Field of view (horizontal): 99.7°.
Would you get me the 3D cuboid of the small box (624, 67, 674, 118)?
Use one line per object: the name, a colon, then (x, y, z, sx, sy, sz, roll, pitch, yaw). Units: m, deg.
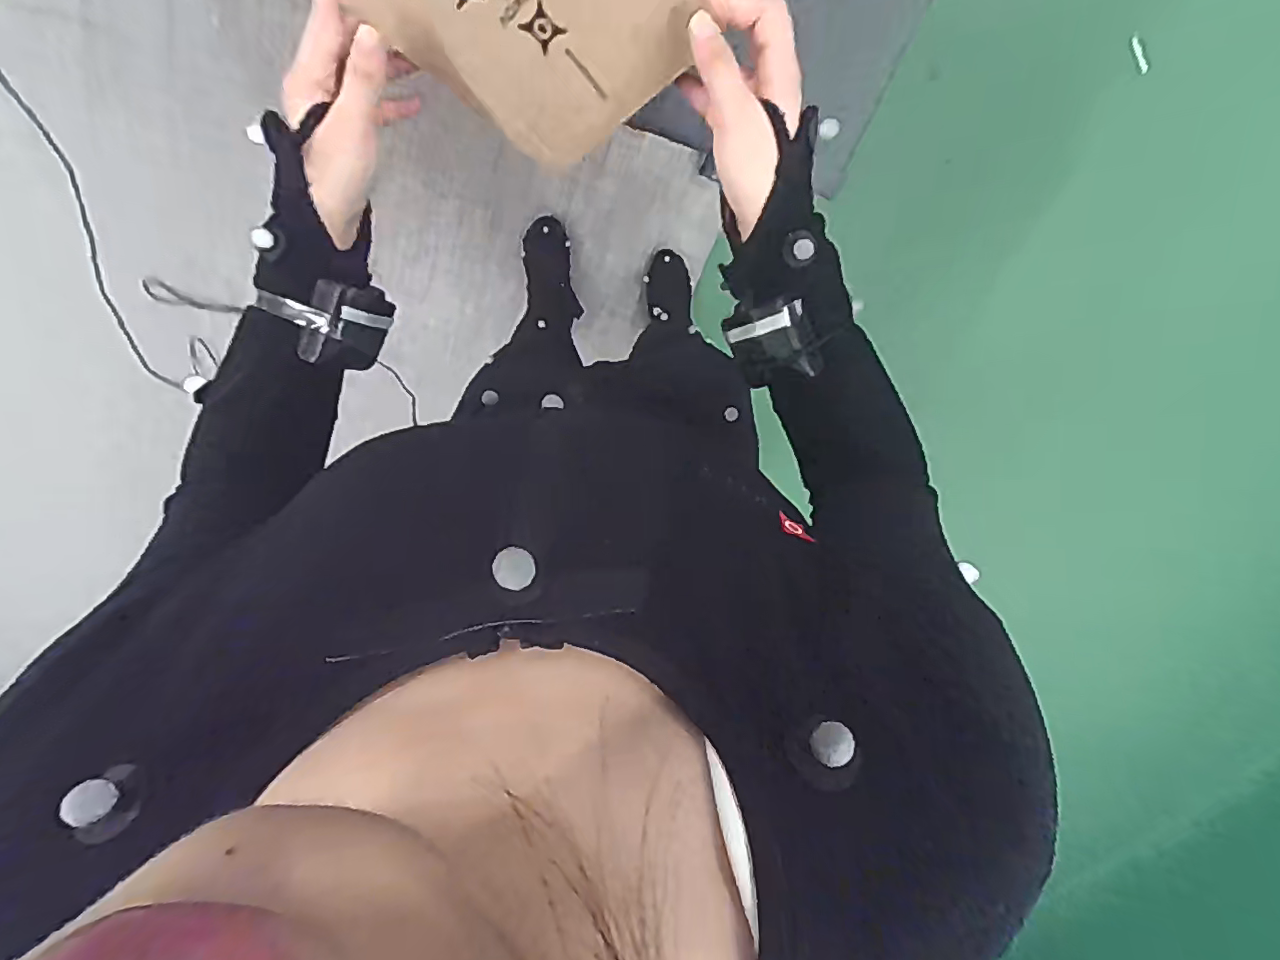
small box: (-0.014, -0.826, 1.042, 0.168, 0.176, 0.179, 13, 118, -10)

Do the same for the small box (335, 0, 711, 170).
small box: (-0.070, -0.361, 0.350, 0.168, 0.176, 0.179, -12, 159, 40)
